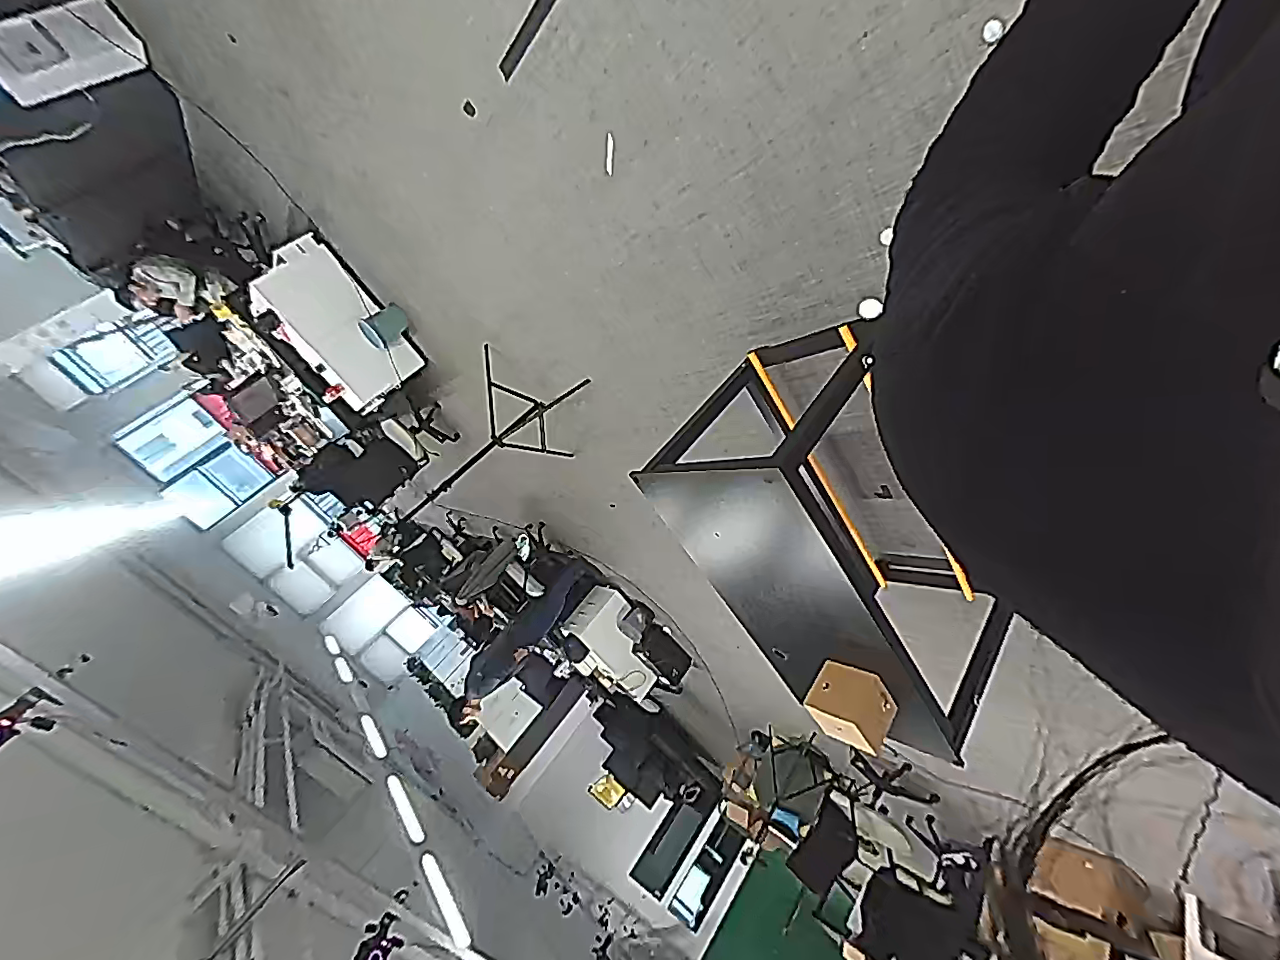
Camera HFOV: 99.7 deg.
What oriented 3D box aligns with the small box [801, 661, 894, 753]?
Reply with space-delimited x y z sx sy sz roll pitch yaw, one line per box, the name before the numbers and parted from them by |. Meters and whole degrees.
small box | 0.626 0.673 1.625 0.179 0.176 0.168 -2 131 55
